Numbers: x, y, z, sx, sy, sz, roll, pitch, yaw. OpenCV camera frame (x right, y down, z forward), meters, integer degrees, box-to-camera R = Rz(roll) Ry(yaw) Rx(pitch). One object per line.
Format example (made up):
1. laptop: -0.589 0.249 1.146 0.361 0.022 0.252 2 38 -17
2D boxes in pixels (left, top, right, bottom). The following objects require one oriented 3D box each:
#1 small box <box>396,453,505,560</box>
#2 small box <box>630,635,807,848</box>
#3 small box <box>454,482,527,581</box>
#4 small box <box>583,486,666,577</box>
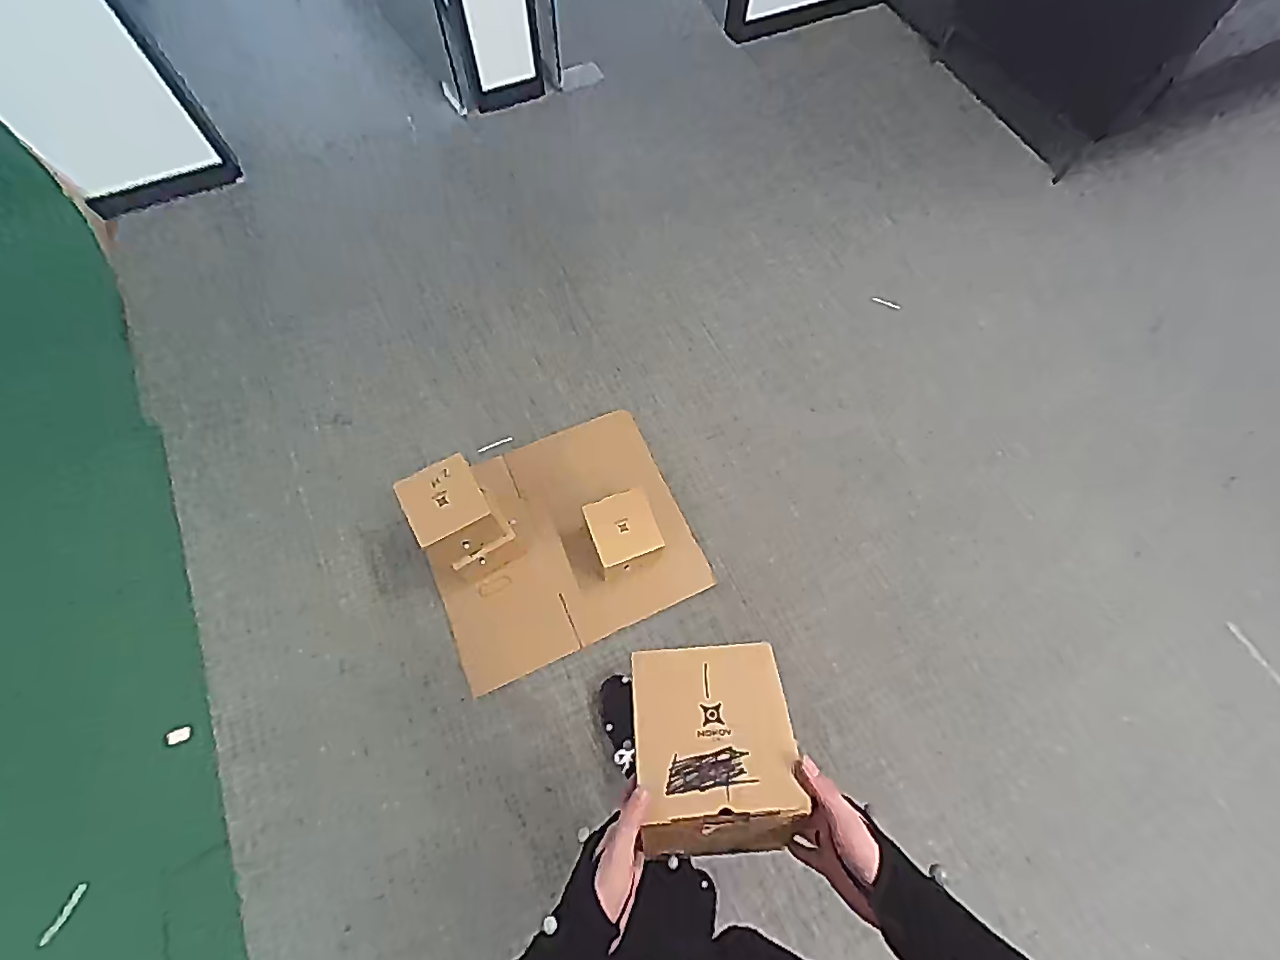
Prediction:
1. small box: -0.436 0.072 1.270 0.168 0.176 0.179 -28 70 -14
2. small box: 0.079 0.303 0.621 0.168 0.176 0.179 -5 43 -1
3. small box: -0.417 0.141 1.421 0.168 0.176 0.179 -29 71 -13
4. small box: -0.039 0.145 1.428 0.168 0.176 0.179 -20 68 -9
